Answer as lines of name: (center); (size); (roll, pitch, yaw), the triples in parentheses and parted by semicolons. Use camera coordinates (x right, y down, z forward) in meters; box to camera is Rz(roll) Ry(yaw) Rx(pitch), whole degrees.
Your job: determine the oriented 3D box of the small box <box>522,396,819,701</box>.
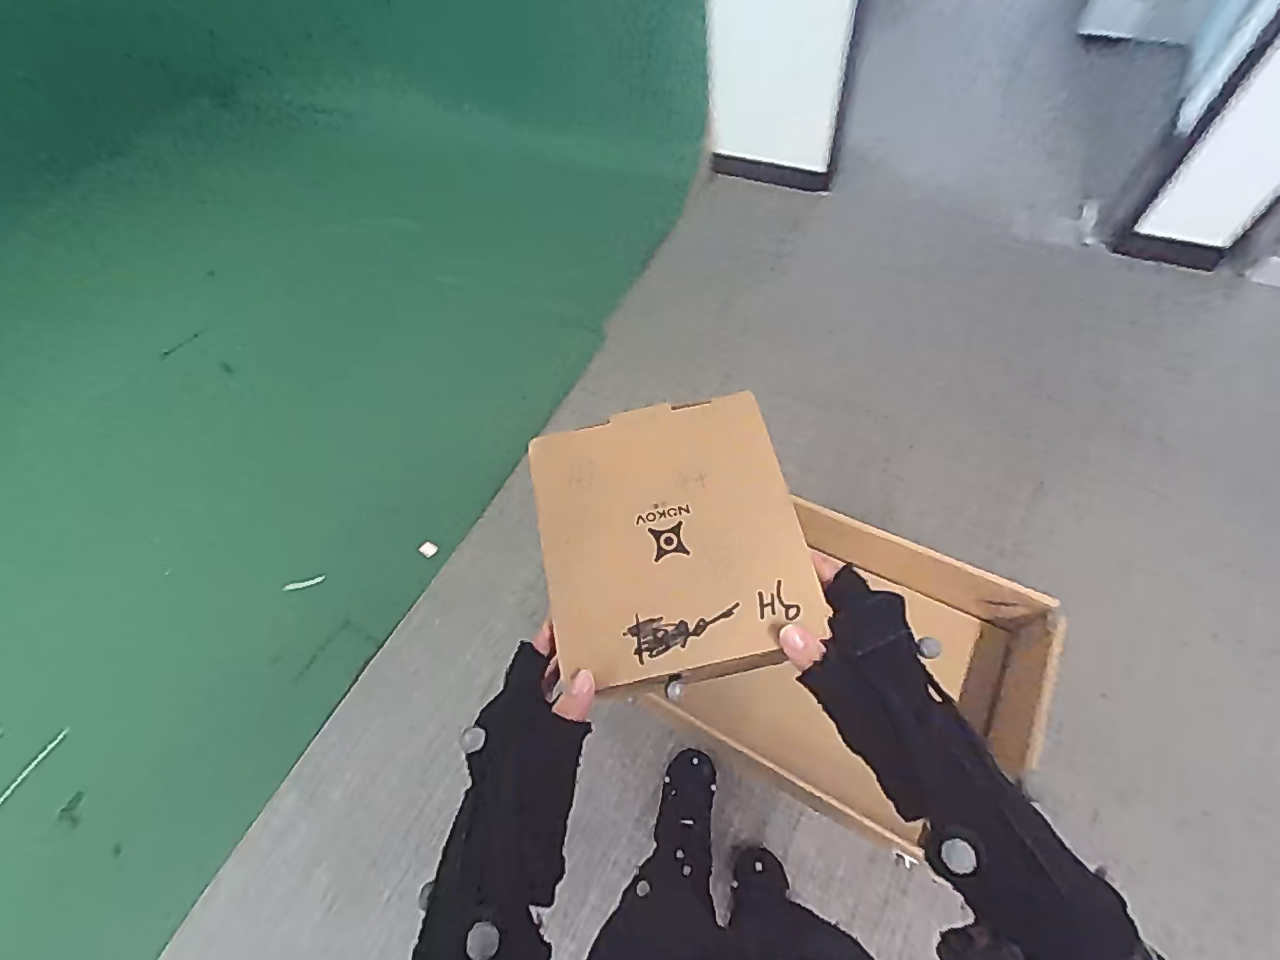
small box: (0.017, 0.065, 0.425); (0.168, 0.176, 0.179); (-13, 66, 0)
